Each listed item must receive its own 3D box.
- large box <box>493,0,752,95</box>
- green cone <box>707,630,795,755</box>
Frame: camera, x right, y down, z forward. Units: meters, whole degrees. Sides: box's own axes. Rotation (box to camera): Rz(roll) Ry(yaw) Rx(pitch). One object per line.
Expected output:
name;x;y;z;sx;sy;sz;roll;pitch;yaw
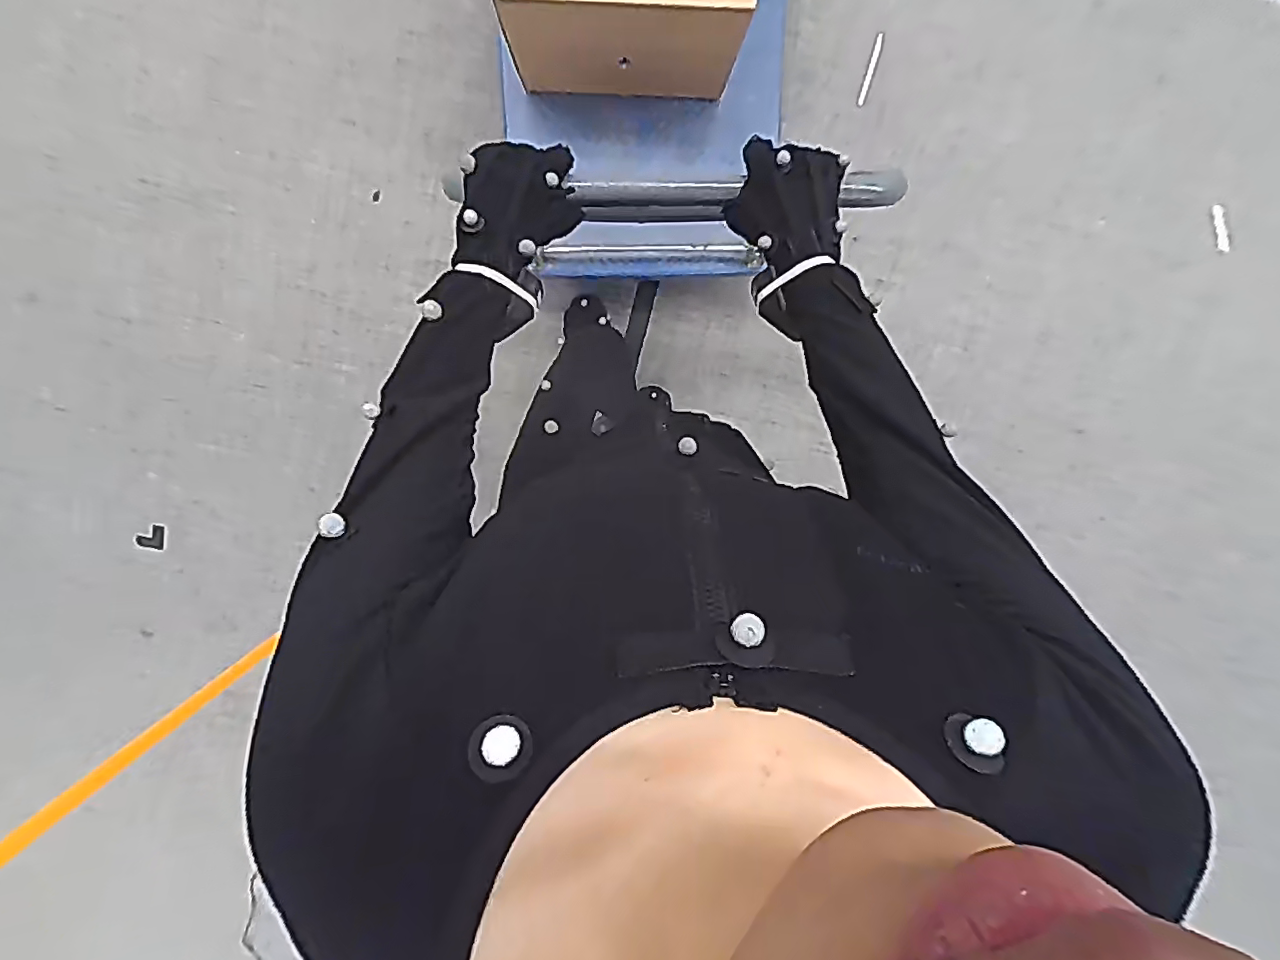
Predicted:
large box;-0.027;-0.906;0.935;0.408;0.320;0.320;1;103;-2
green cone;0.328;0.593;1.445;0.202;0.368;0.200;17;102;-8
